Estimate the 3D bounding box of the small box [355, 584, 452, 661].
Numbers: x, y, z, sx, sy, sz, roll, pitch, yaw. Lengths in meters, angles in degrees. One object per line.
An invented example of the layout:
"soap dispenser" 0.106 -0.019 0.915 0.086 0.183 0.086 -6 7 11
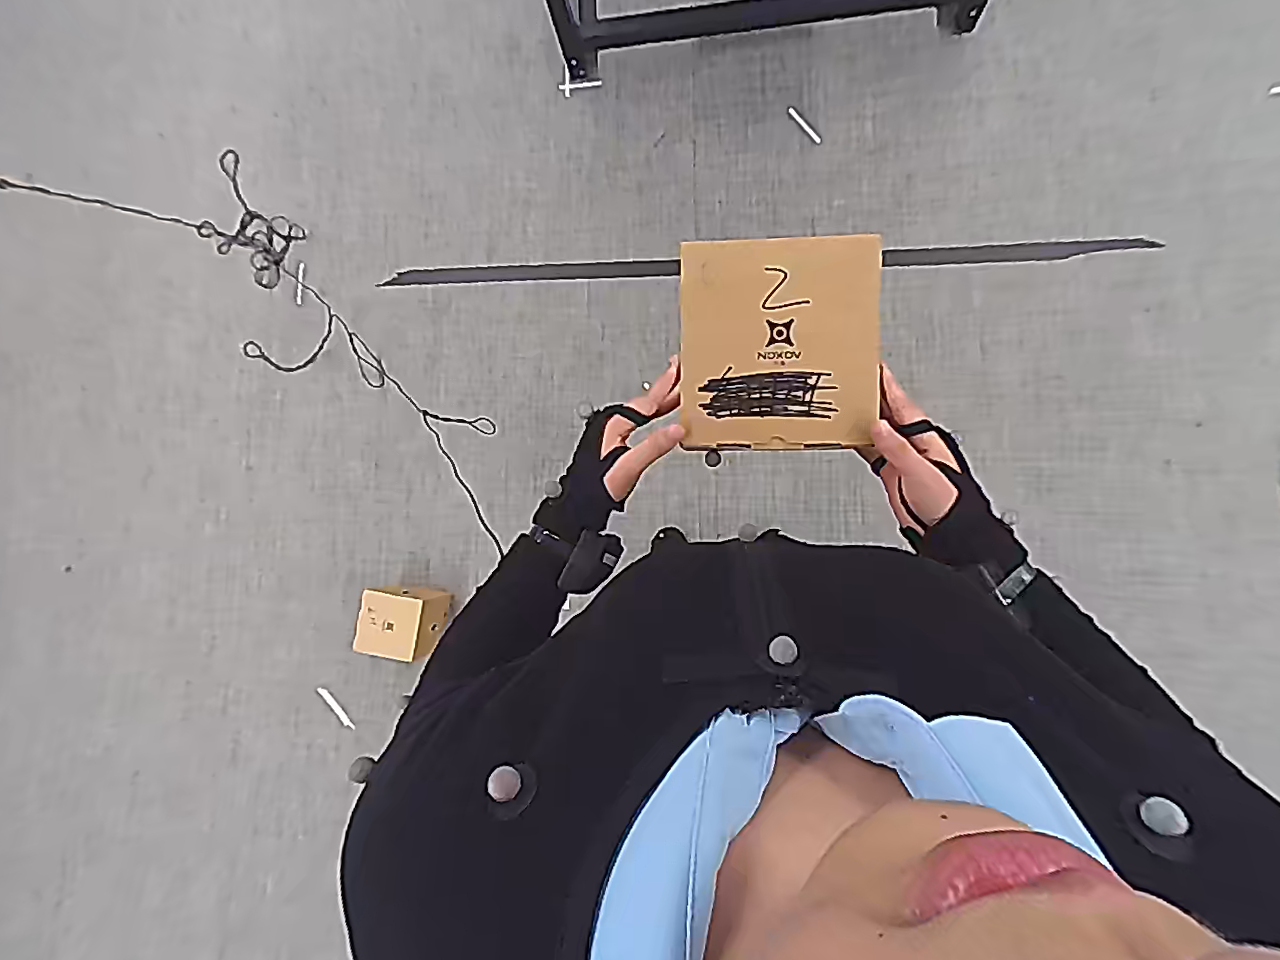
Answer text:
"small box" -0.651 0.390 1.510 0.179 0.176 0.168 9 85 8
